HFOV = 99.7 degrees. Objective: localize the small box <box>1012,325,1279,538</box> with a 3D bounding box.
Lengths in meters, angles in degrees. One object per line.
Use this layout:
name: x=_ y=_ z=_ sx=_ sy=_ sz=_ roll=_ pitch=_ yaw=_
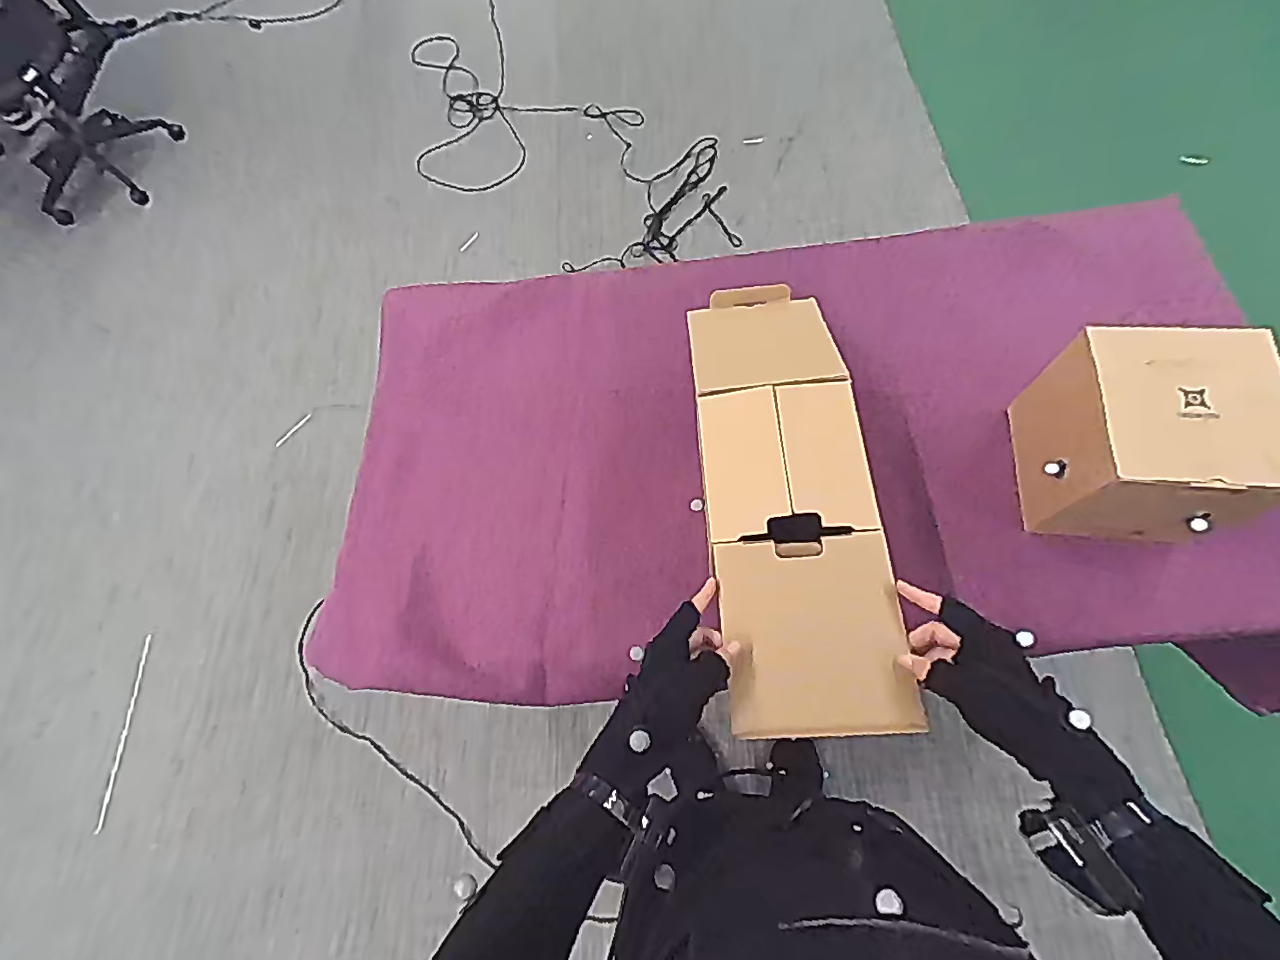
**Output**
small box: x=0.540 y=-0.044 z=0.588 sx=0.168 sy=0.176 sz=0.179 roll=4 pitch=68 yaw=10
